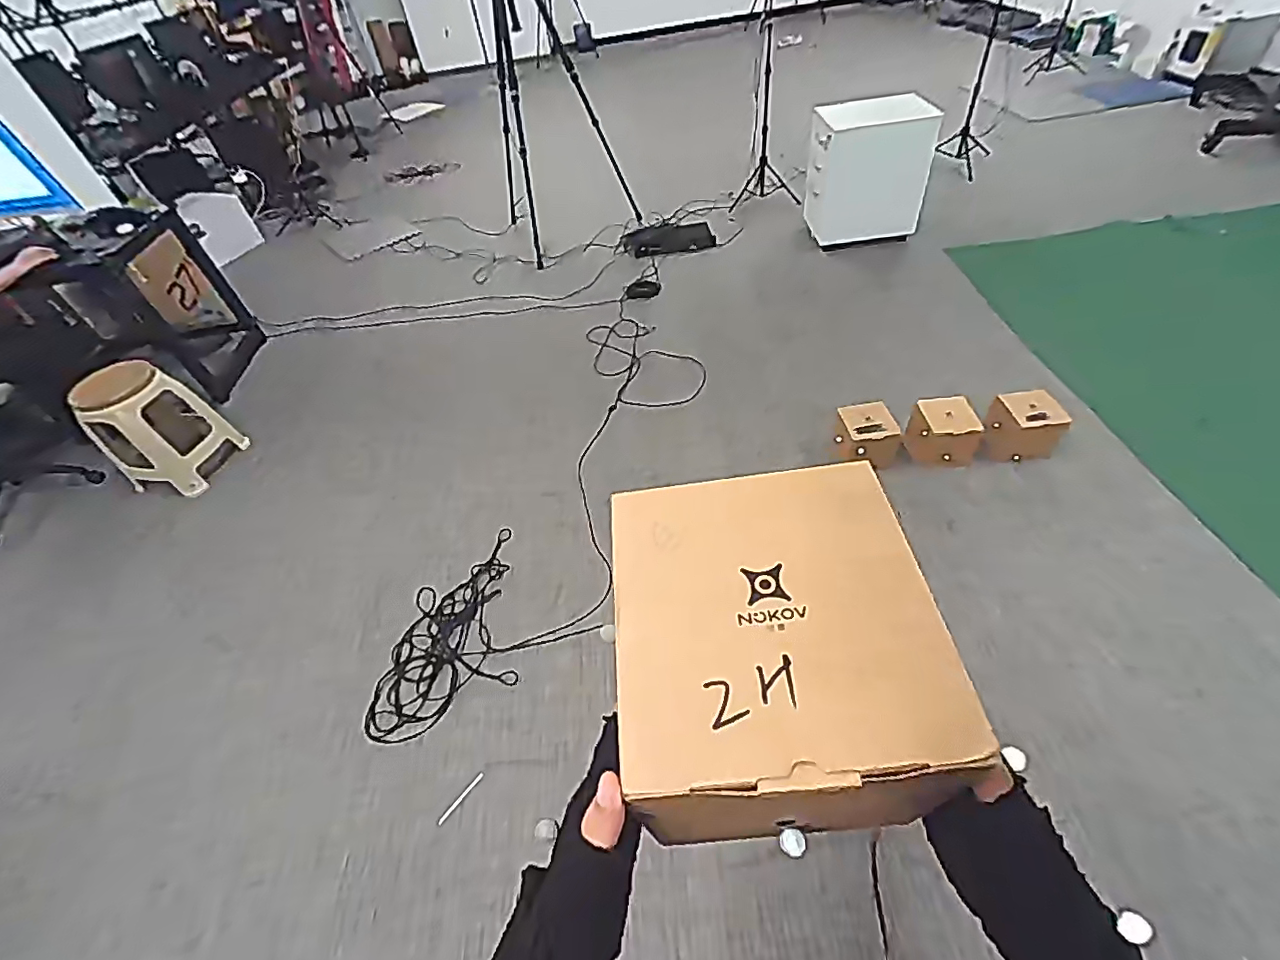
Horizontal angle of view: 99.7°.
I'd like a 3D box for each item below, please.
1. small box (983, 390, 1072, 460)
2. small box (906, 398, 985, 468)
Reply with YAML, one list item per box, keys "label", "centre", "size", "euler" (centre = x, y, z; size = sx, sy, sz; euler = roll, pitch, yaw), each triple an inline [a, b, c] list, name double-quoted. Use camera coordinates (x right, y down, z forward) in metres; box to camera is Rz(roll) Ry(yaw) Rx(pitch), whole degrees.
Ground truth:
- label: "small box"
  centre: [1.327, -0.184, 1.868]
  size: [0.168, 0.176, 0.179]
  euler: [-6, 47, 3]
- label: "small box"
  centre: [1.059, -0.165, 1.891]
  size: [0.168, 0.176, 0.179]
  euler: [-5, 48, 3]
